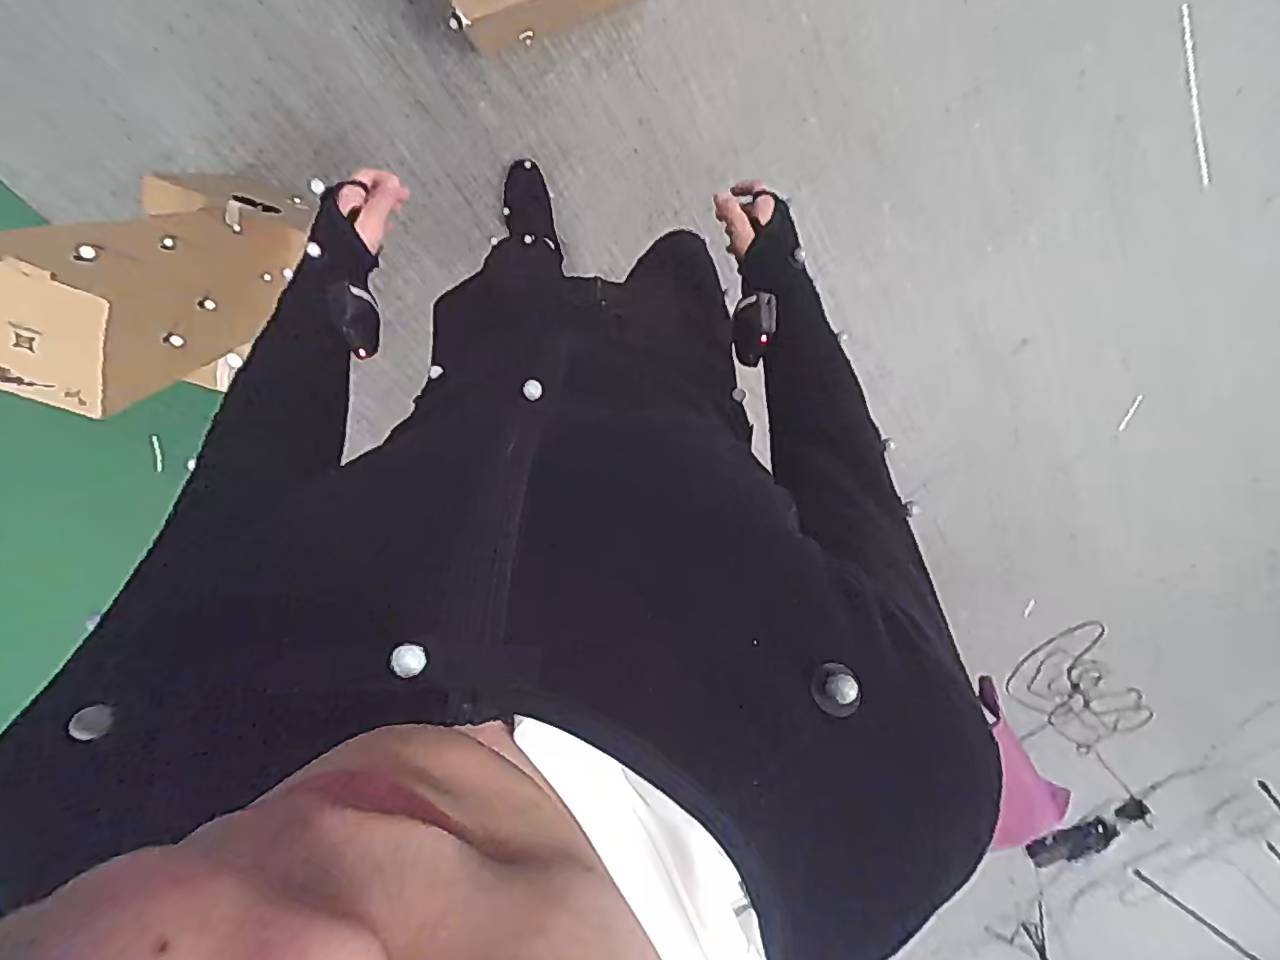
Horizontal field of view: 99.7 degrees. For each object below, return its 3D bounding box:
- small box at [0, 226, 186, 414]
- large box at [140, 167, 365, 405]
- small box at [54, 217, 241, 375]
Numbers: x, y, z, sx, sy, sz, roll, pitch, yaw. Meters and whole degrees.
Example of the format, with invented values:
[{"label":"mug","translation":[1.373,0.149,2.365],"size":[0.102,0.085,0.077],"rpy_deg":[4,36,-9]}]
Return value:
[{"label":"small box","translation":[-0.761,-0.222,0.732],"size":[0.168,0.176,0.179],"rpy_deg":[21,114,-18]},{"label":"large box","translation":[-0.868,-0.452,1.252],"size":[0.320,0.320,0.408],"rpy_deg":[17,117,-15]},{"label":"small box","translation":[-0.784,-0.303,0.872],"size":[0.168,0.176,0.179],"rpy_deg":[21,115,-18]}]
